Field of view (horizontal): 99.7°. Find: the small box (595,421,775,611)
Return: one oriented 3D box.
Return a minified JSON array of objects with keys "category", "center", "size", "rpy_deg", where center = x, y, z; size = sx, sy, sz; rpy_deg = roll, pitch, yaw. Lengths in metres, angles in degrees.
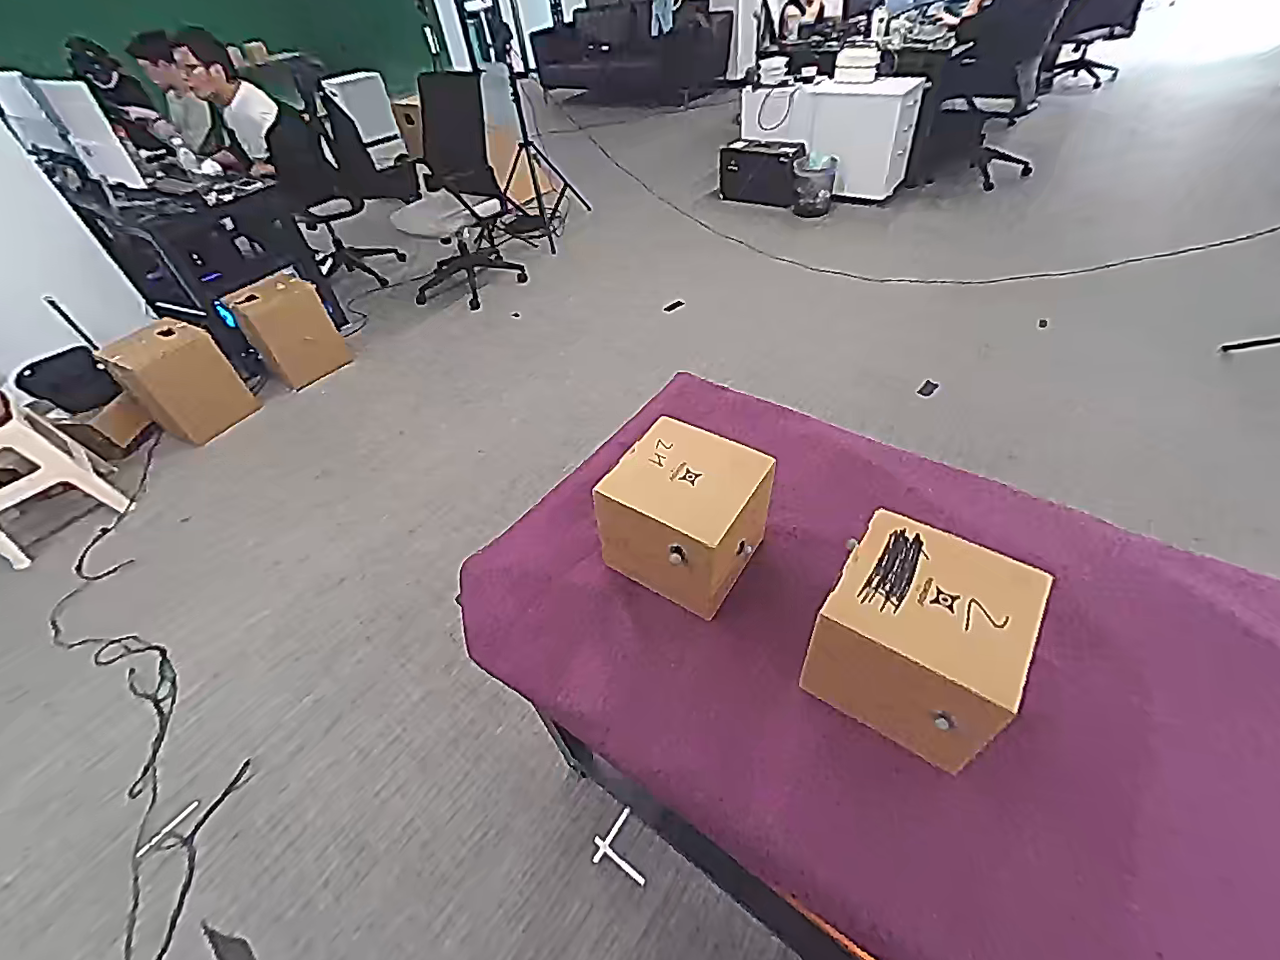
[{"category":"small box","center":[0.063,0.053,0.742],"size":[0.179,0.176,0.168],"rpy_deg":[24,52,25]}]
